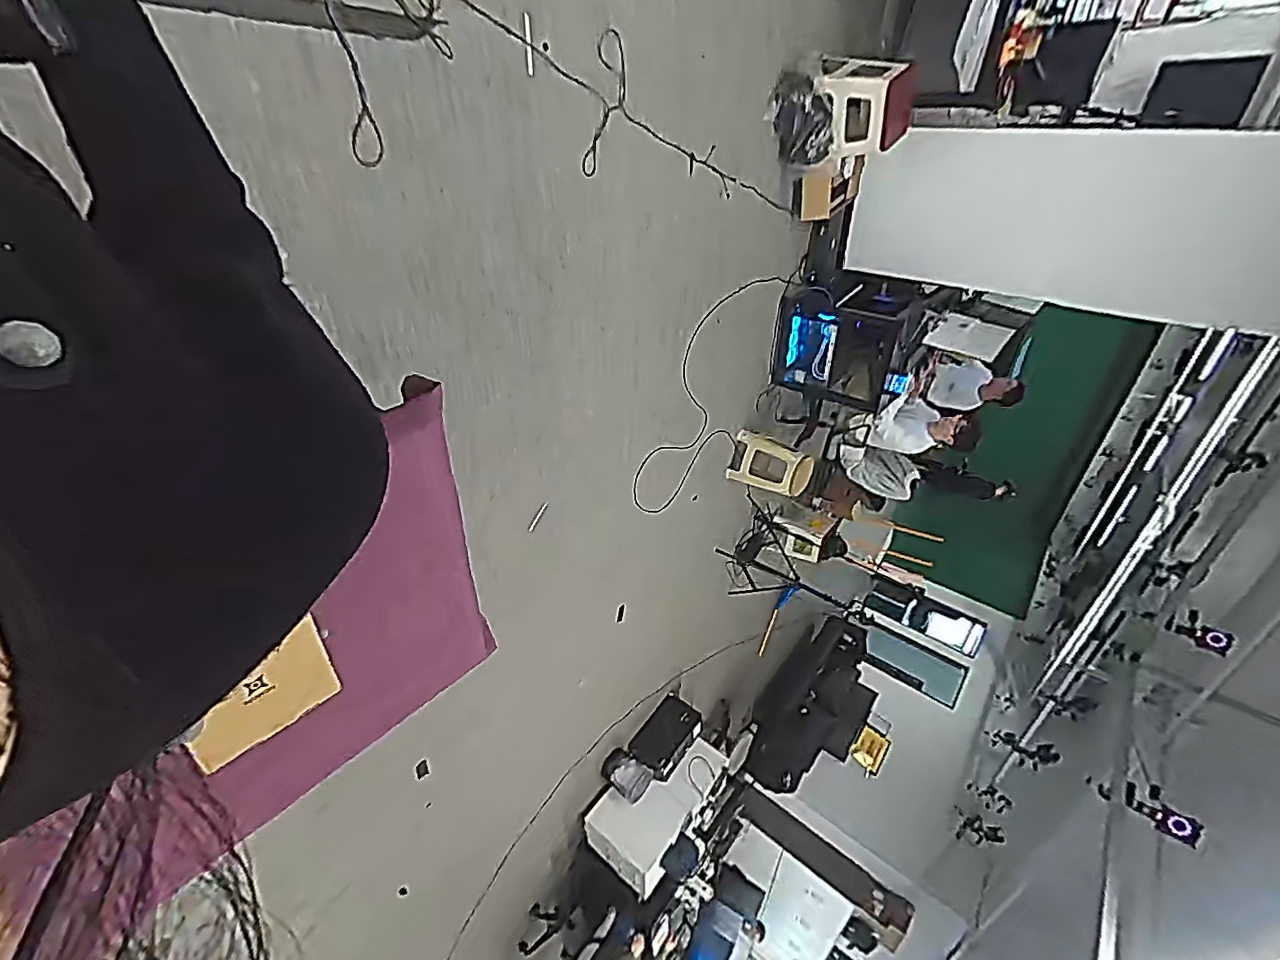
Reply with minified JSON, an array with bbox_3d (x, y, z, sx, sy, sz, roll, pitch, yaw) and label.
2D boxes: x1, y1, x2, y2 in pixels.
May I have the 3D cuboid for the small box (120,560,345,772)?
[{"bbox_3d":[-0.531,0.228,0.714,0.168,0.176,0.179,-32,136,-41],"label":"small box"}]

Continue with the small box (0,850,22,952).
[{"bbox_3d":[-0.754,0.414,0.509,0.168,0.176,0.179,-30,134,-43],"label":"small box"}]
